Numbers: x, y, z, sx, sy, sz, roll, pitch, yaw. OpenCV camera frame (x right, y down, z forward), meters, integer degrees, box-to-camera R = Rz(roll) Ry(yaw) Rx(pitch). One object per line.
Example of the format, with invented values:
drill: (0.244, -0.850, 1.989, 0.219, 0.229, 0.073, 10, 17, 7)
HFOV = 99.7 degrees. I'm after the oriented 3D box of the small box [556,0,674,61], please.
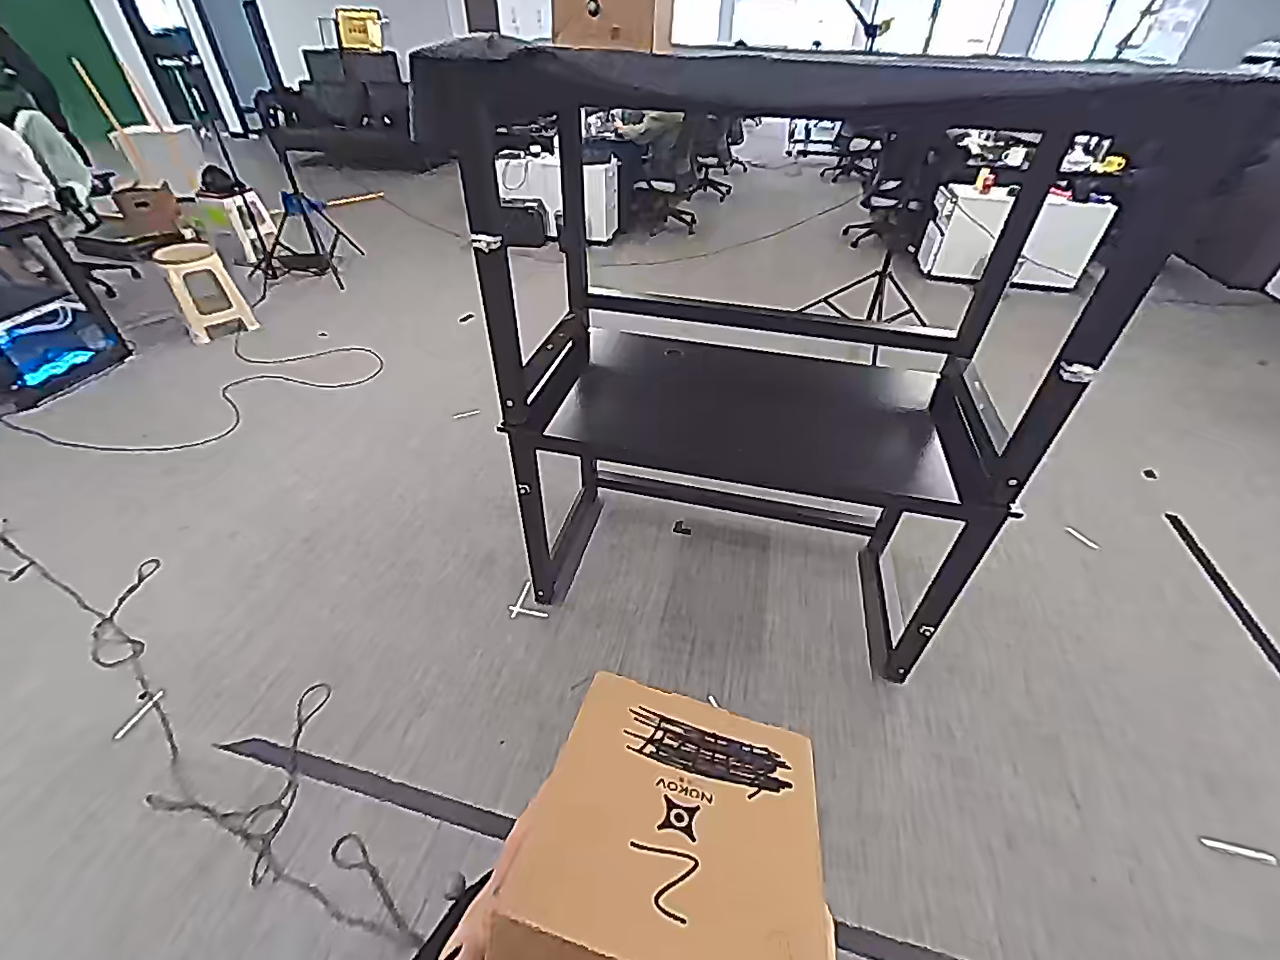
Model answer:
small box: (-0.037, -0.790, 0.870, 0.168, 0.176, 0.179, 10, 40, 8)
